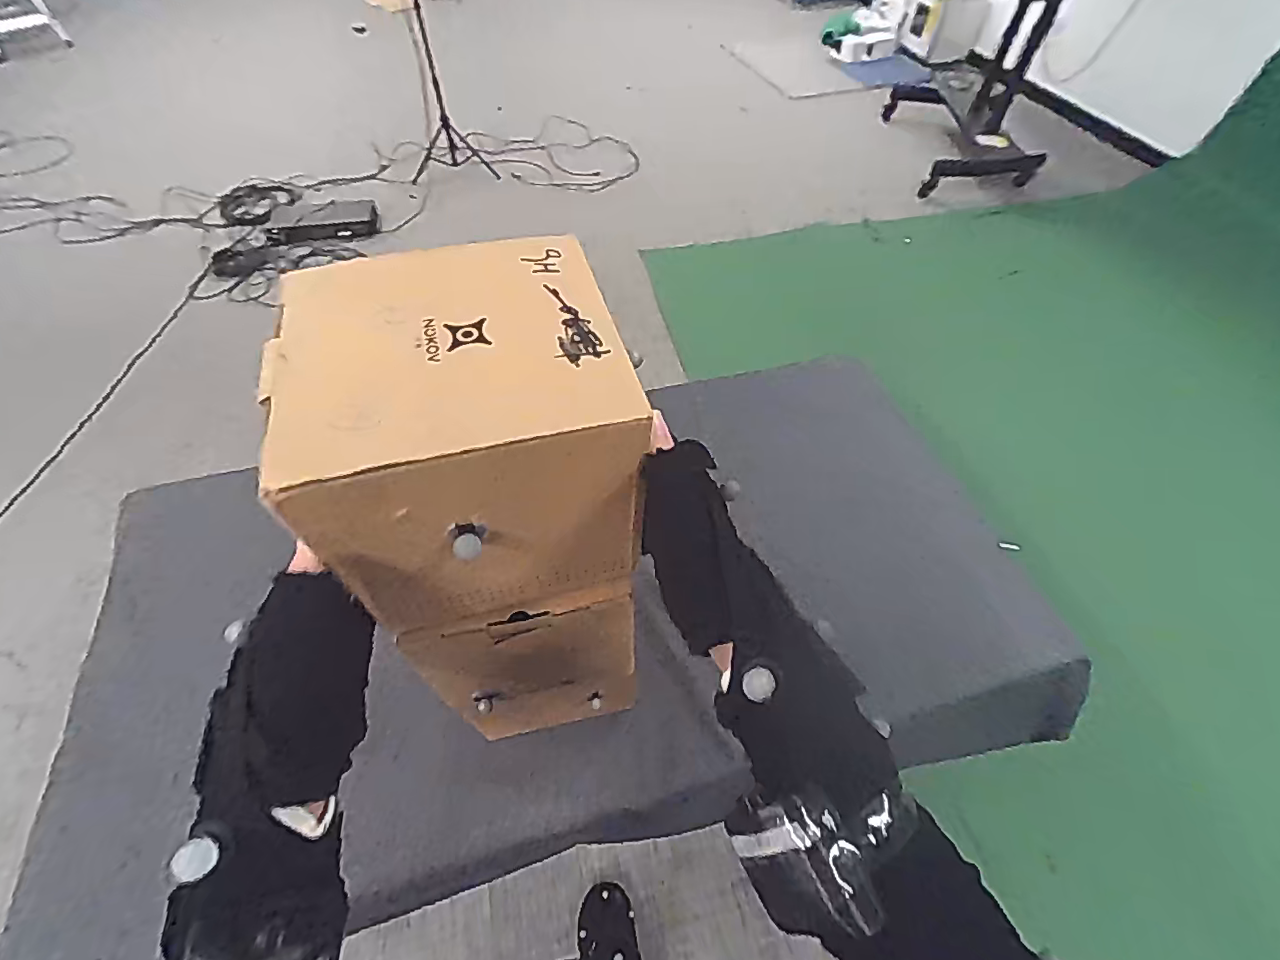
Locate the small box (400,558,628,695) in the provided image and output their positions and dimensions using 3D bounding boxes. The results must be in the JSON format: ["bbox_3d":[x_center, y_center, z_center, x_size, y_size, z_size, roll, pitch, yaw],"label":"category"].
[{"bbox_3d":[-0.109,0.080,0.495,0.168,0.176,0.179,-13,55,-10],"label":"small box"}]

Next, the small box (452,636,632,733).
[{"bbox_3d":[-0.110,0.174,0.629,0.179,0.176,0.168,-11,53,-7],"label":"small box"}]

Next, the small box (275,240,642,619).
[{"bbox_3d":[-0.106,-0.029,0.363,0.179,0.176,0.168,-15,55,-14],"label":"small box"}]
